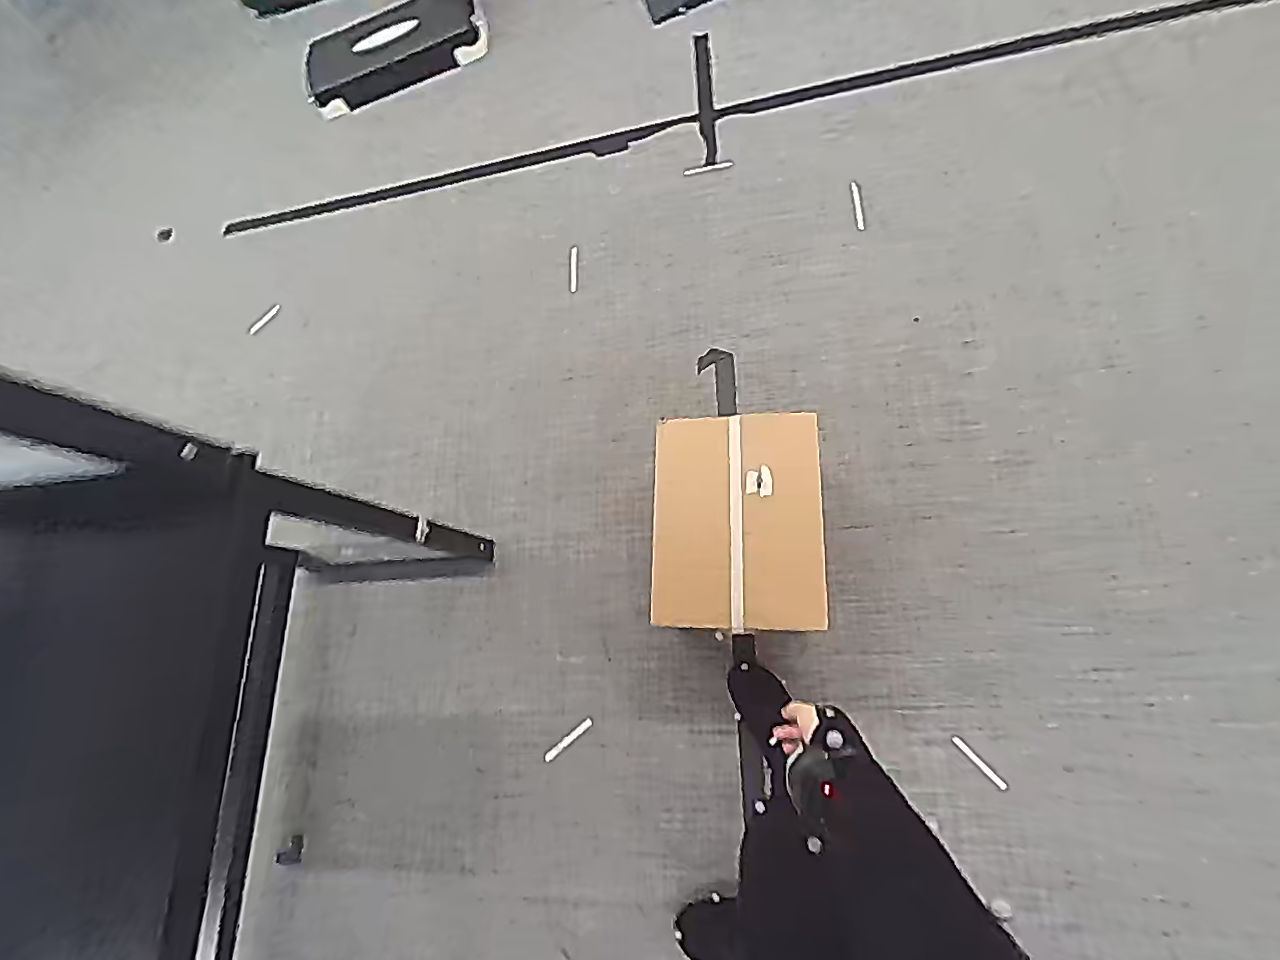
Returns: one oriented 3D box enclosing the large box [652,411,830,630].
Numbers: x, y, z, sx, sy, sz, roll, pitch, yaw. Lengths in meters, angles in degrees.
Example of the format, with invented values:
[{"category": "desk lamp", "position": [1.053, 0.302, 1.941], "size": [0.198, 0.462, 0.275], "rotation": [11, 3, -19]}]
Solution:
[{"category": "large box", "position": [0.209, 0.105, 1.142], "size": [0.320, 0.320, 0.408], "rotation": [-1, 74, 11]}]
